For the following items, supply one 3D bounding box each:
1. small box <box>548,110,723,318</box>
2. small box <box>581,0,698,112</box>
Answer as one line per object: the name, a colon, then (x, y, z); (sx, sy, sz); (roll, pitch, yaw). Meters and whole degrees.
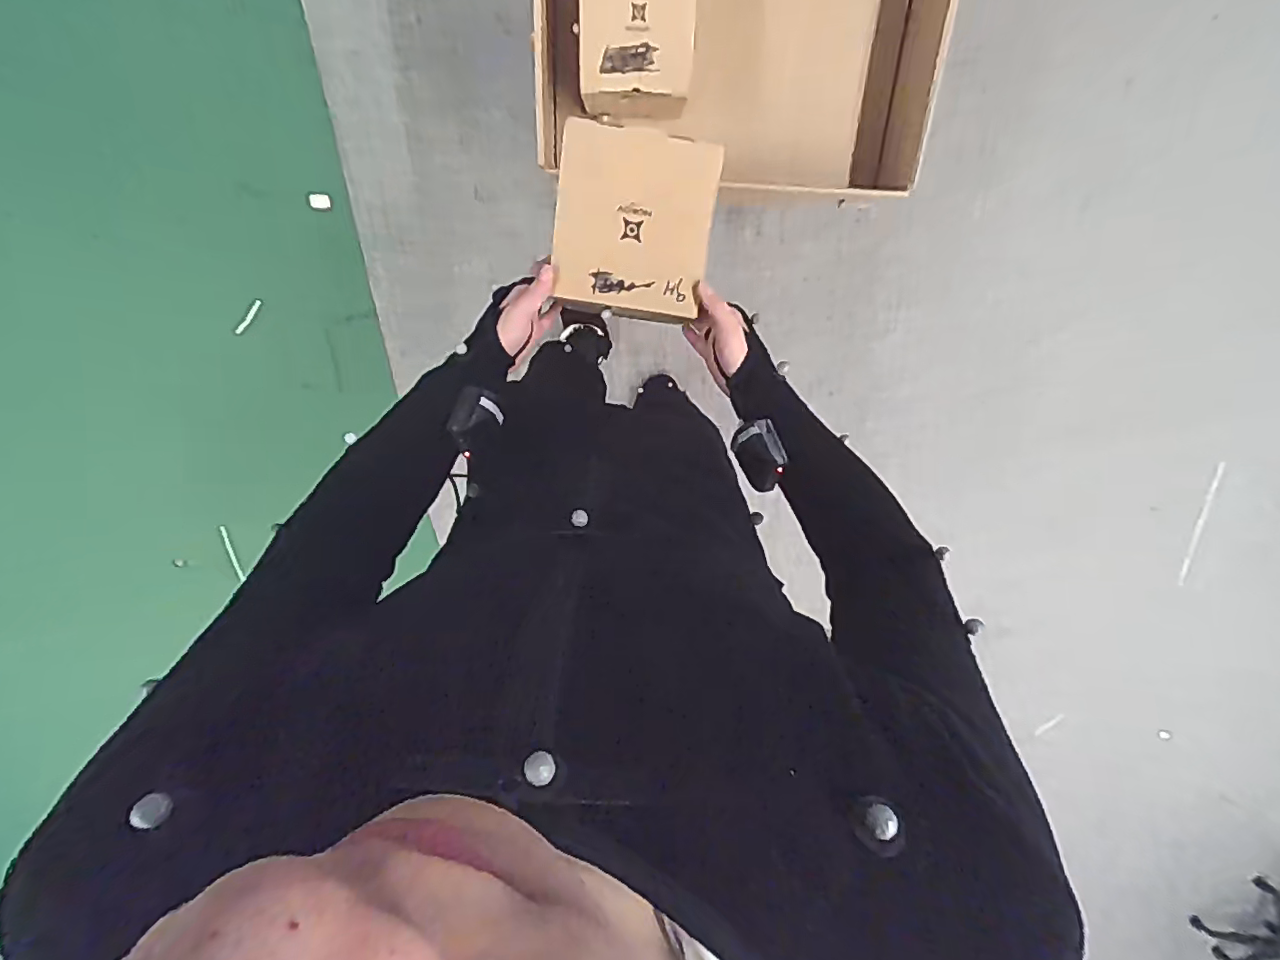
small box: (-0.009, -0.299, 0.648); (0.168, 0.176, 0.179); (8, 104, -2)
small box: (0.000, -0.687, 0.834); (0.168, 0.176, 0.179); (1, 114, -1)
